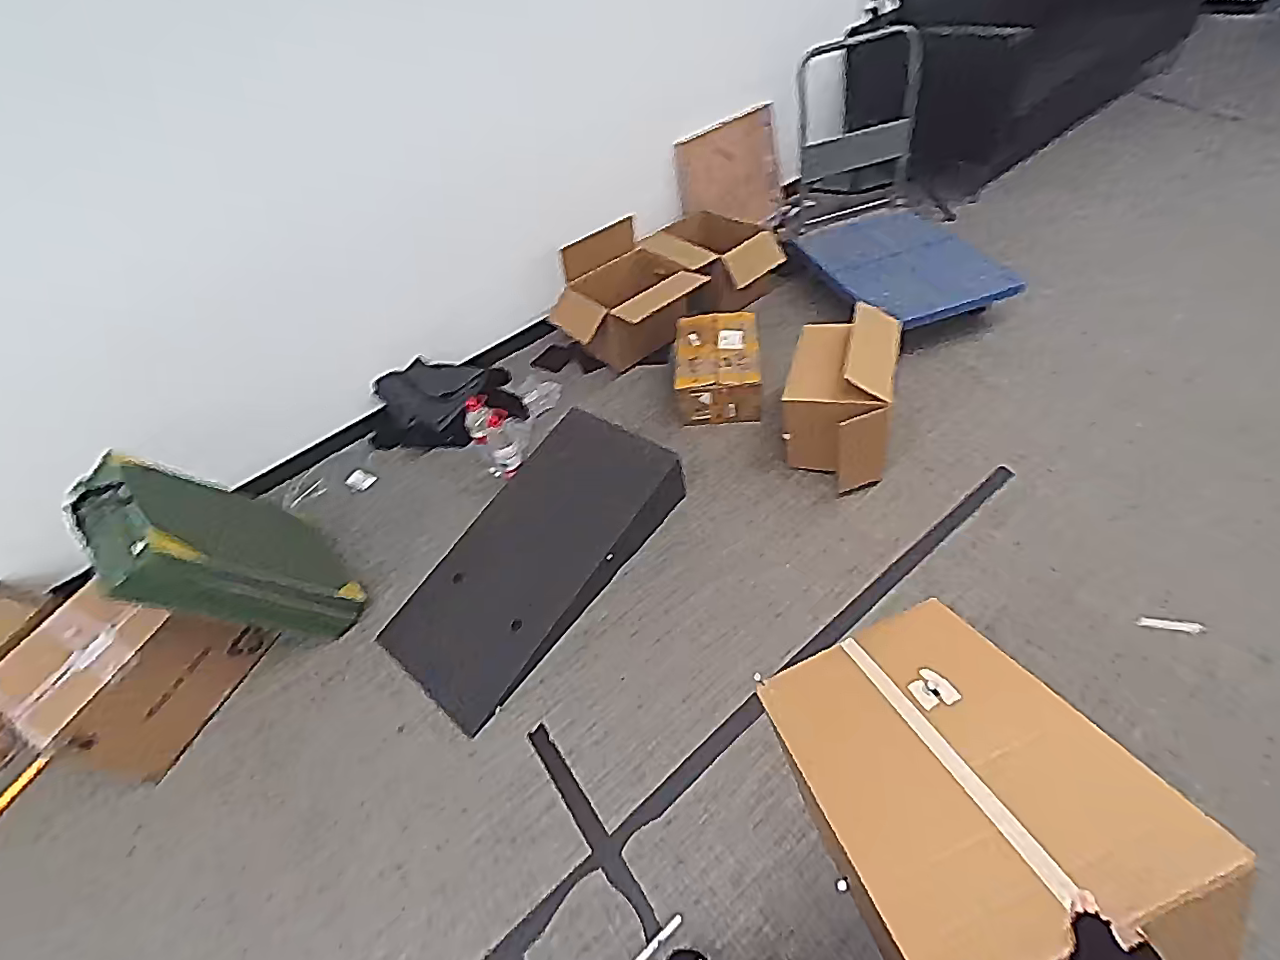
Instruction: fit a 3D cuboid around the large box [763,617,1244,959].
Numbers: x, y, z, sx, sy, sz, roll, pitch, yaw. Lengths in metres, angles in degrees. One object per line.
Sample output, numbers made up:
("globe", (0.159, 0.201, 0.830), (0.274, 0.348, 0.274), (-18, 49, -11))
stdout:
("large box", (0.421, 0.466, 0.711), (0.320, 0.320, 0.408), (-24, 23, -3))
